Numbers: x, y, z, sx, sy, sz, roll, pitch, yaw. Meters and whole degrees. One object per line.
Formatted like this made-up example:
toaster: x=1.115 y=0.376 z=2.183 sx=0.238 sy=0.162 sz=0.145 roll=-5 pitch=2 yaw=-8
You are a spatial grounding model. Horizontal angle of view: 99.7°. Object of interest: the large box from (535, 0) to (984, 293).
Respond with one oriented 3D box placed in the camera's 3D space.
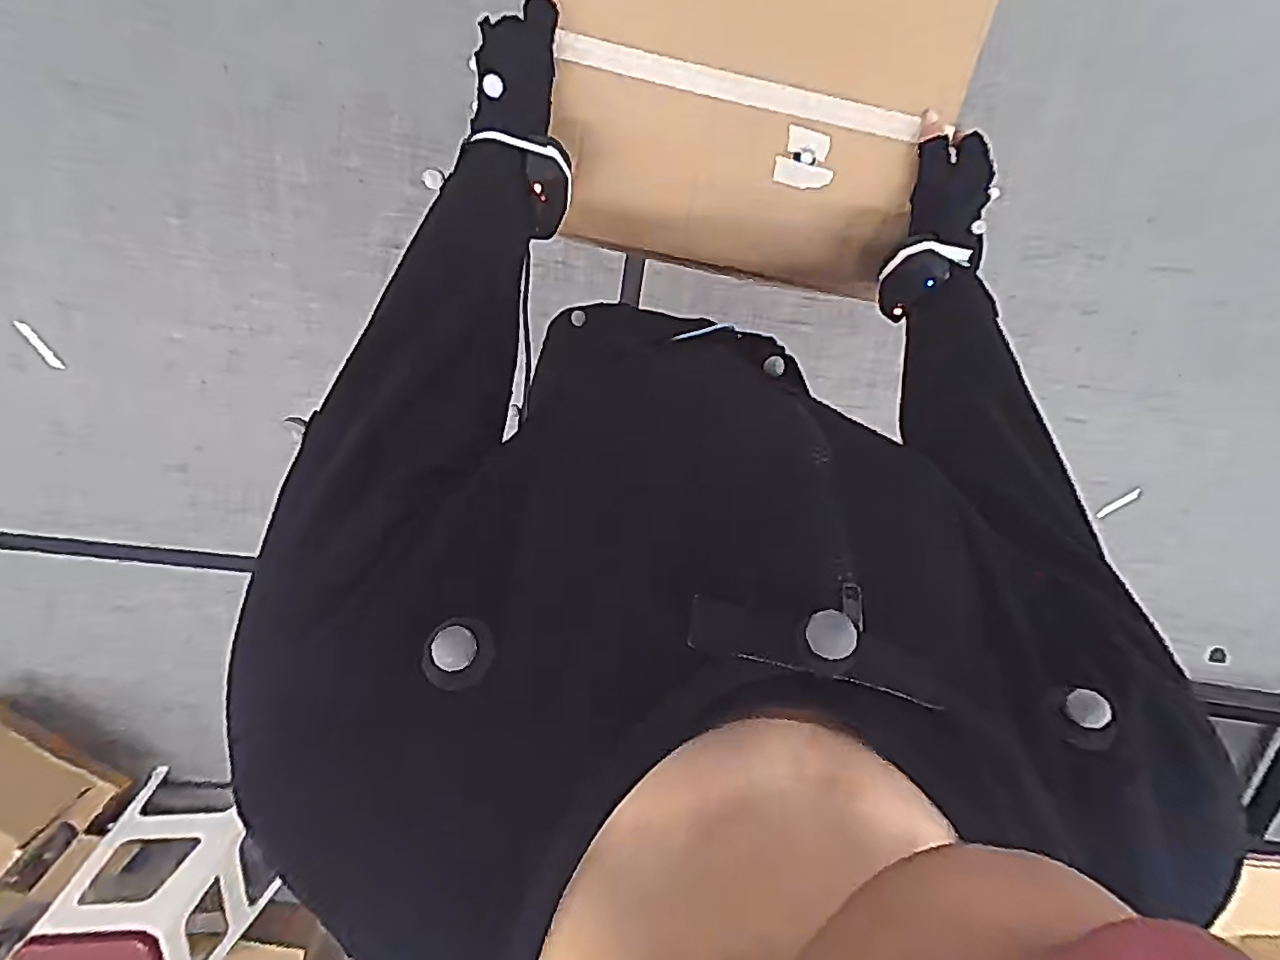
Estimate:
large box: x=0.103 y=-0.433 z=0.671 sx=0.408 sy=0.320 sz=0.320 roll=10 pitch=112 yaw=-6
